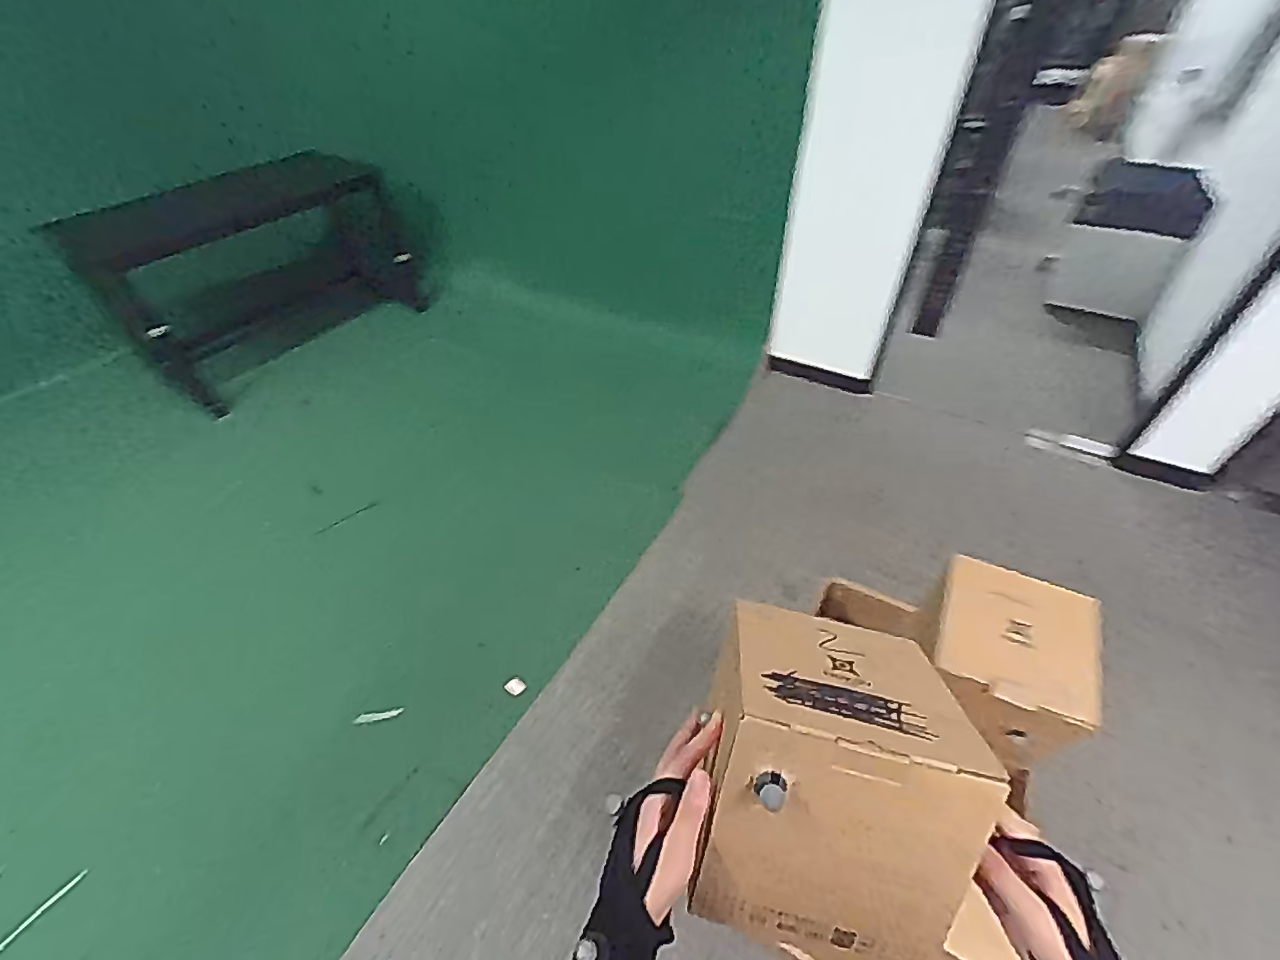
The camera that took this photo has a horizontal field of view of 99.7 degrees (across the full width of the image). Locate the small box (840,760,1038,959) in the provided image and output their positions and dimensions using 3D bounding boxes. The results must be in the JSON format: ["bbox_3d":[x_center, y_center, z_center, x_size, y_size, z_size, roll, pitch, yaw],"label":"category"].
[{"bbox_3d":[0.368,0.503,0.685,0.168,0.176,0.179,21,50,21],"label":"small box"}]

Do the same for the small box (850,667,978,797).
[{"bbox_3d":[0.485,0.451,0.956,0.168,0.176,0.179,19,54,19],"label":"small box"}]

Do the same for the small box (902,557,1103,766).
[{"bbox_3d":[0.462,0.239,0.708,0.168,0.176,0.179,20,53,20],"label":"small box"}]

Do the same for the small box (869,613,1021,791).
[{"bbox_3d":[0.465,0.344,0.832,0.168,0.176,0.179,18,52,19],"label":"small box"}]
